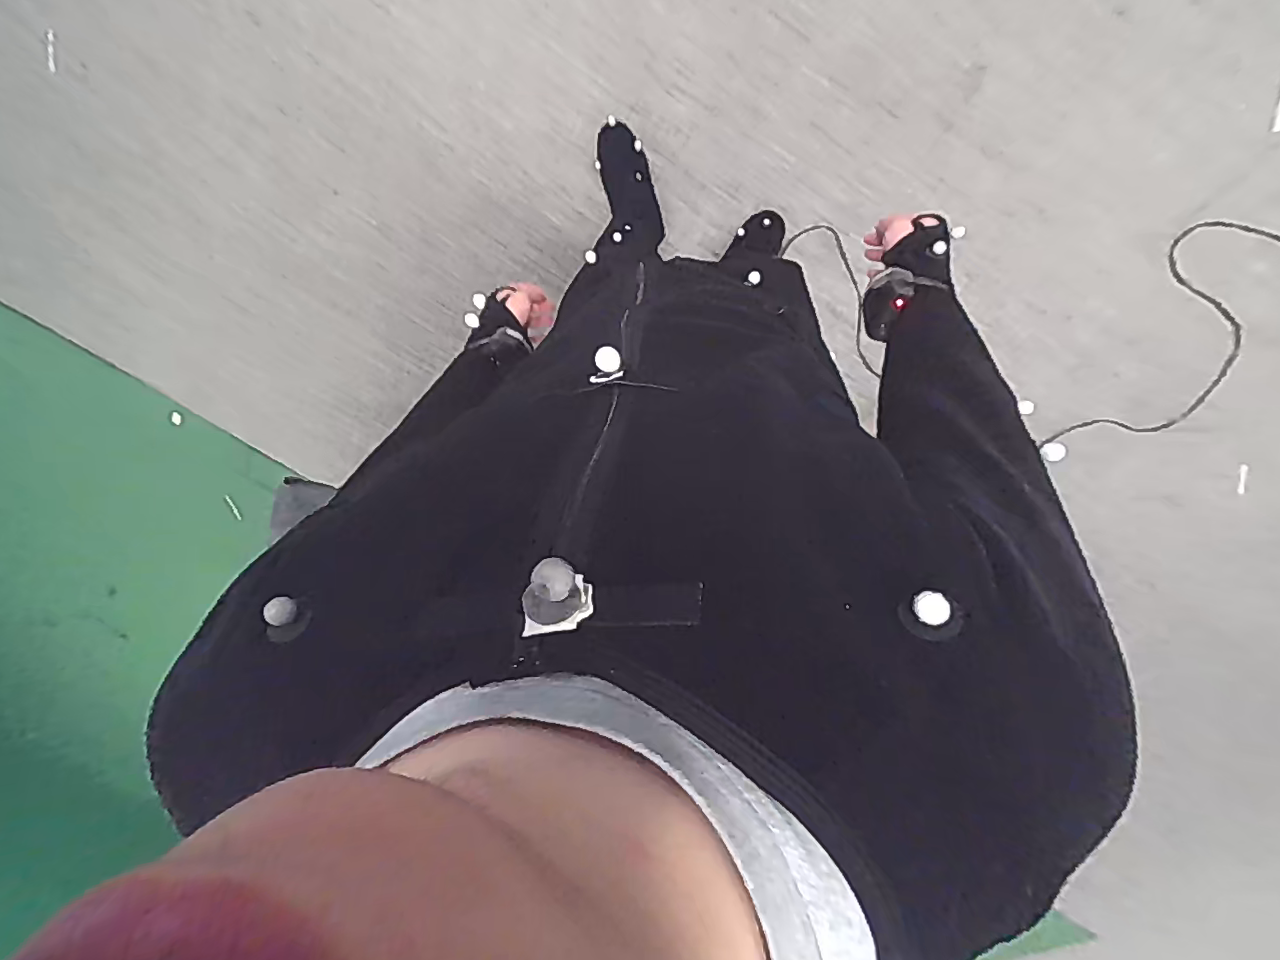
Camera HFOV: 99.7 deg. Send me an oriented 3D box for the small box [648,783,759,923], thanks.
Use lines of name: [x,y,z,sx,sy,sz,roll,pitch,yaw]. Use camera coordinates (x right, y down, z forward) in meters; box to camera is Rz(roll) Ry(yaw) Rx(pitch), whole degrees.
small box: [0.141,0.795,1.160,0.168,0.176,0.179,31,120,-6]
